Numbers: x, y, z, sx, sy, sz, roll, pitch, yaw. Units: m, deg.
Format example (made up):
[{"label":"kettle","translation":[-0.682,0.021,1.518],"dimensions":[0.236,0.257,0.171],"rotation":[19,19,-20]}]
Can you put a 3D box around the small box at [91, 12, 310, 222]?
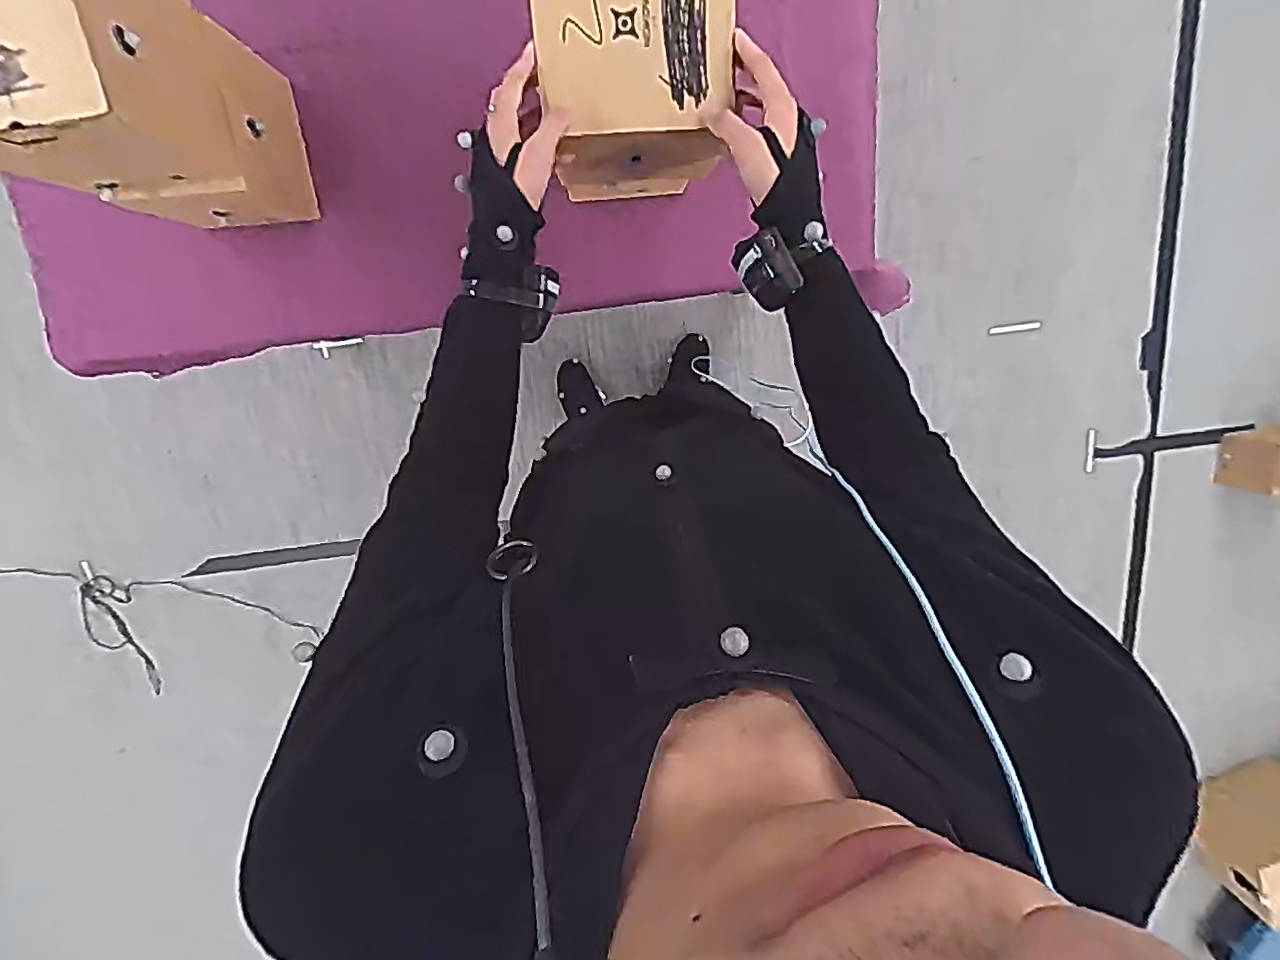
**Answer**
[{"label":"small box","translation":[-0.544,-0.426,0.667],"dimensions":[0.168,0.176,0.179],"rotation":[-5,105,-3]}]

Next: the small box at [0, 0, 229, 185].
[{"label":"small box","translation":[-0.539,-0.394,0.506],"dimensions":[0.168,0.176,0.179],"rotation":[-10,105,-1]}]

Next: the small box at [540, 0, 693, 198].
[{"label":"small box","translation":[-0.026,-0.473,0.690],"dimensions":[0.168,0.176,0.179],"rotation":[-5,105,-2]}]
